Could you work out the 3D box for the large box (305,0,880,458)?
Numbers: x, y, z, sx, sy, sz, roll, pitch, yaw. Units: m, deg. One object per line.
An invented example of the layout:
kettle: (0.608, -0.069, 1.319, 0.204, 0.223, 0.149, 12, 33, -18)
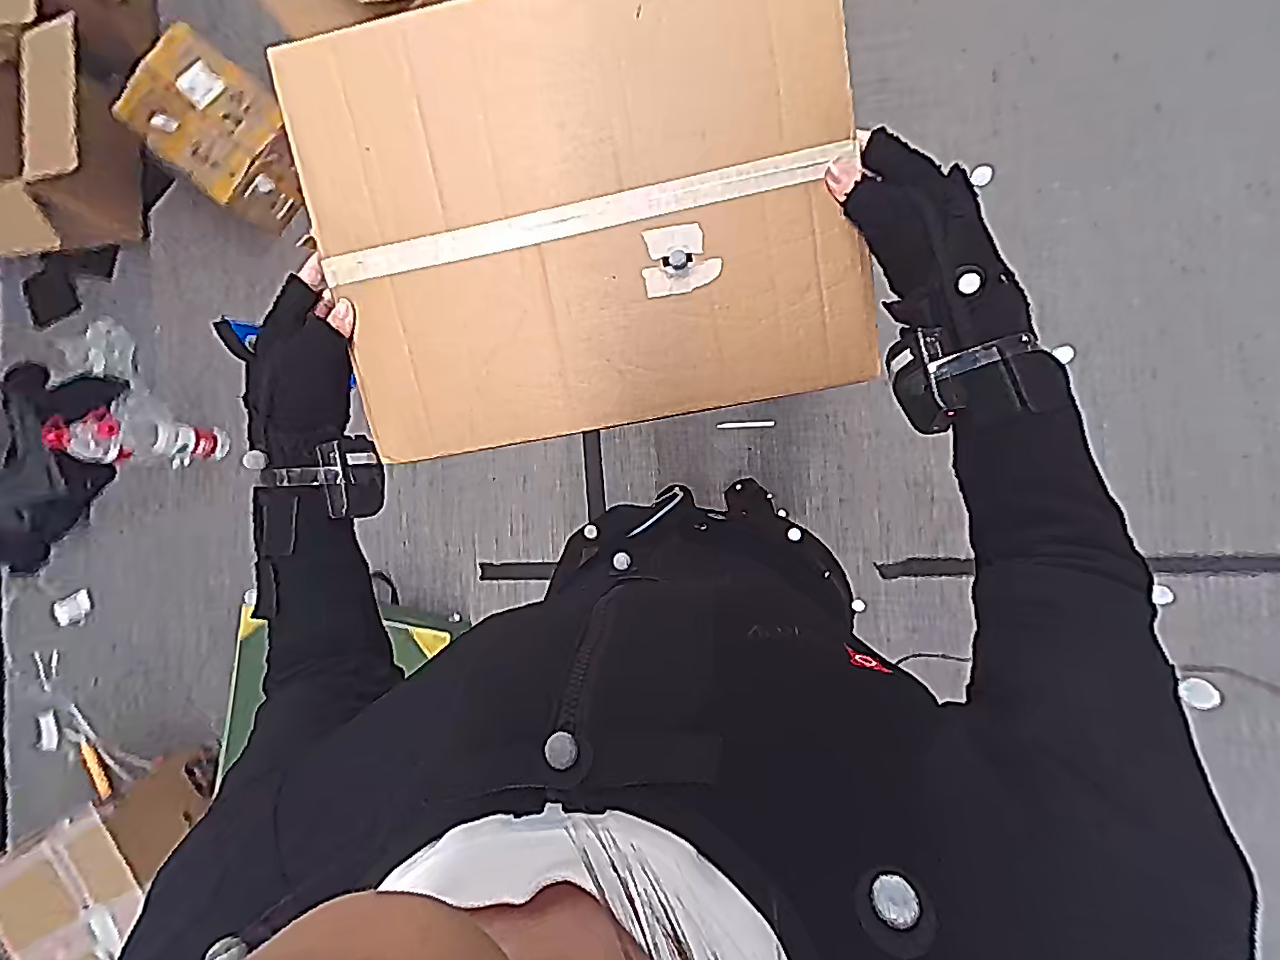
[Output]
large box: (-0.026, -0.226, 0.560, 0.408, 0.320, 0.320, -10, 101, 5)
